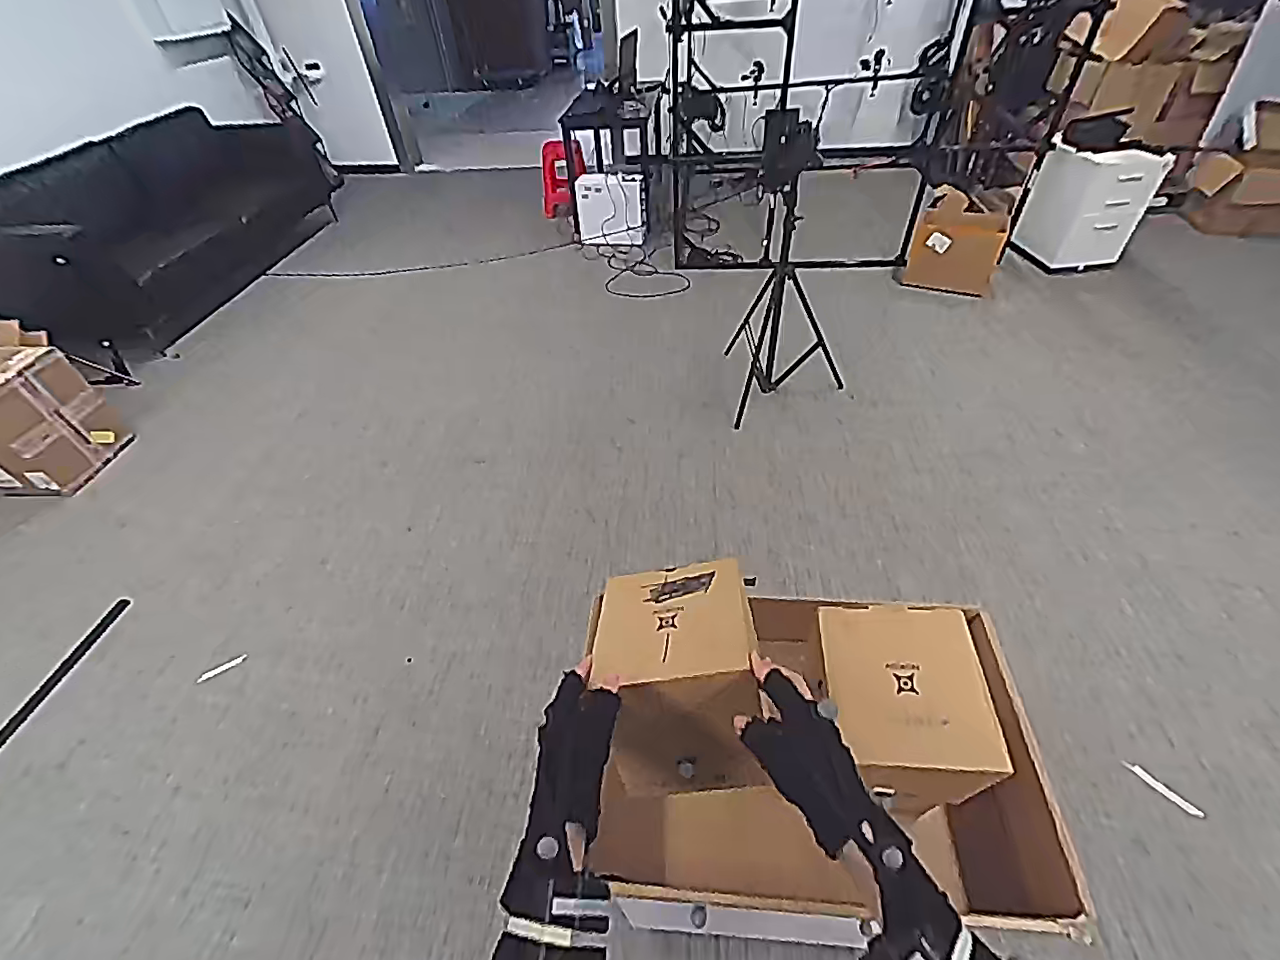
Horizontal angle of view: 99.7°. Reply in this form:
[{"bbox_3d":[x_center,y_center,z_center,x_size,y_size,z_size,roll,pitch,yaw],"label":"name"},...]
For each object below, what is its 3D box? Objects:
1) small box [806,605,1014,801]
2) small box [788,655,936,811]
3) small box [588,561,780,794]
[{"bbox_3d":[0.299,0.267,0.649,0.168,0.176,0.179,-2,51,8],"label":"small box"},{"bbox_3d":[0.318,0.366,0.778,0.179,0.176,0.168,0,50,7],"label":"small box"},{"bbox_3d":[0.056,0.220,0.617,0.168,0.176,0.179,-12,25,11],"label":"small box"}]
